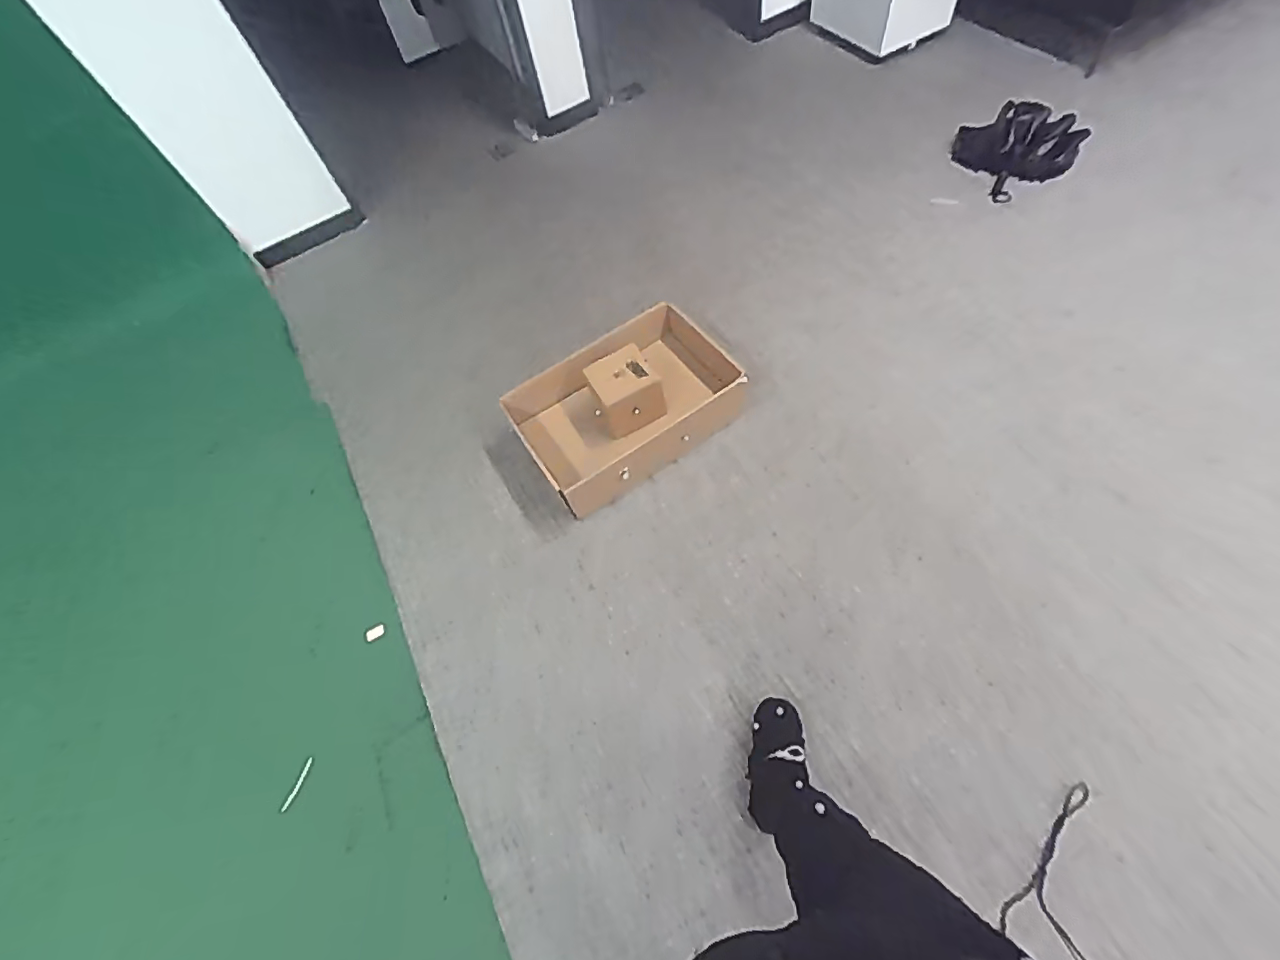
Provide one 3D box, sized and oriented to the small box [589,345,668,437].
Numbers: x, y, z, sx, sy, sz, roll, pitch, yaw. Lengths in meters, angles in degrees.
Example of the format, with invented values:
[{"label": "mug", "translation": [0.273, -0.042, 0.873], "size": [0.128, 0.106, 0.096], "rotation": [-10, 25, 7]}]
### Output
[{"label": "small box", "translation": [-0.026, -0.261, 1.613], "size": [0.179, 0.176, 0.168], "rotation": [-29, 60, -4]}]
